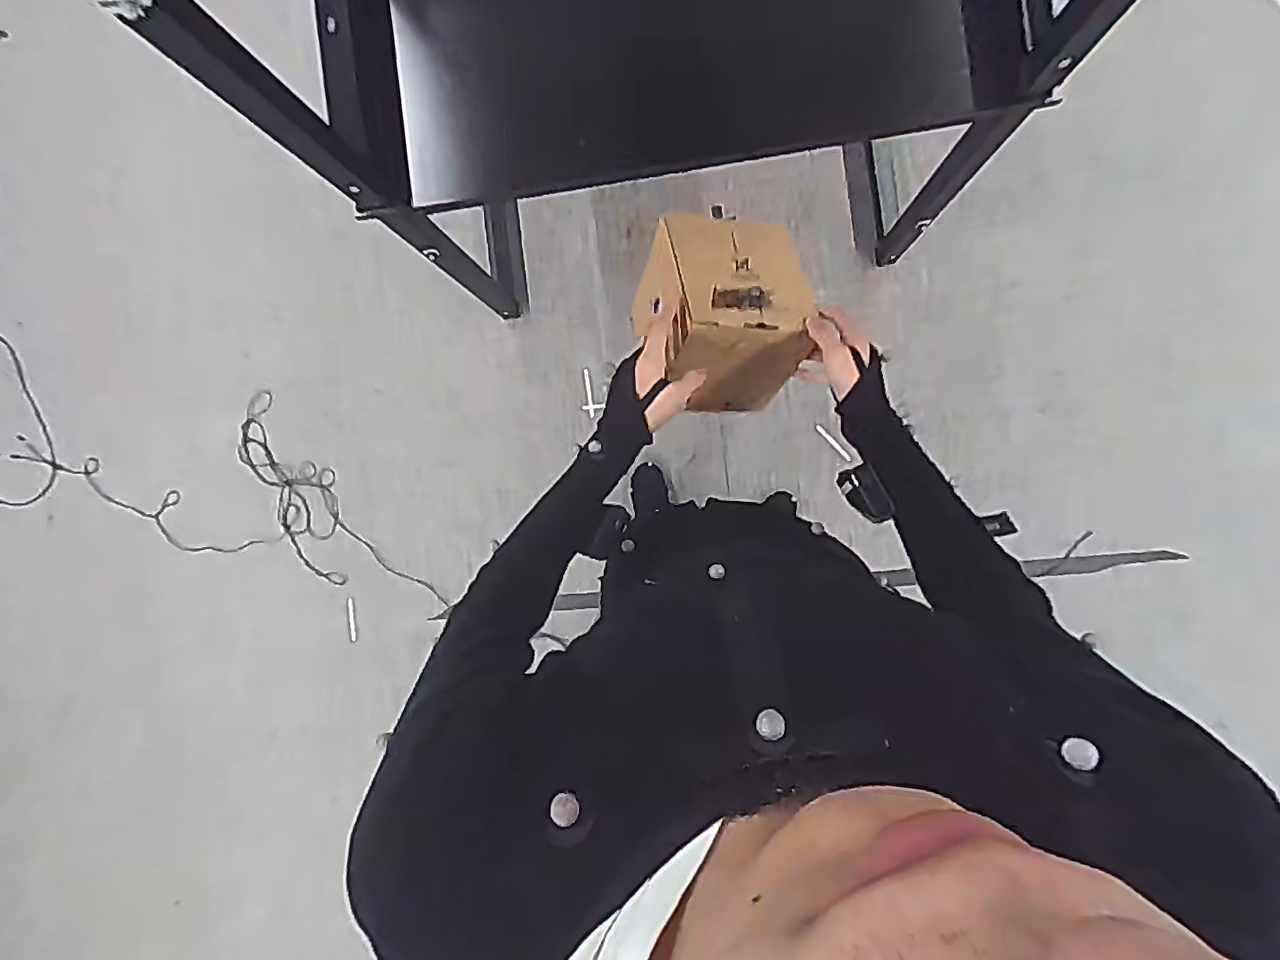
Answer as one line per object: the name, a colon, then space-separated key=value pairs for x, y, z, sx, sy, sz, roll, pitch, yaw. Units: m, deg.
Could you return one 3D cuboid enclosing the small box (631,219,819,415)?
small box: x=0.095 y=-0.199 z=0.697 sx=0.168 sy=0.176 sz=0.179 roll=-1 pitch=62 yaw=-18
